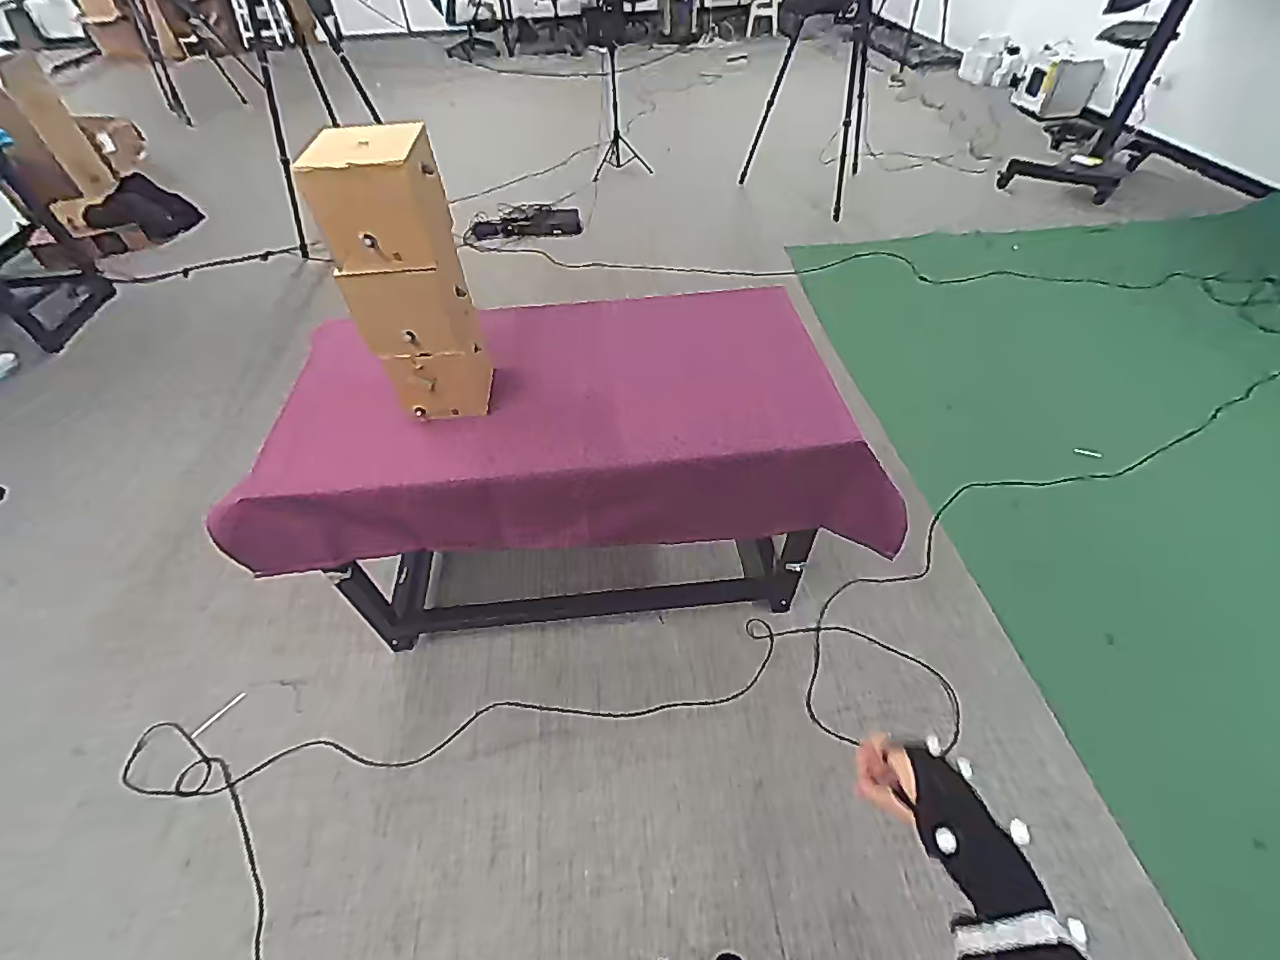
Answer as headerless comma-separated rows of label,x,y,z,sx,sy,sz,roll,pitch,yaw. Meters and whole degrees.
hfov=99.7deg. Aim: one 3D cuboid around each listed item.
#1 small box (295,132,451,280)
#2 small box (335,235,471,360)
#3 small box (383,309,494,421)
small box,-0.429,-0.457,0.905,0.168,0.176,0.179,-6,49,-2
small box,-0.432,-0.345,1.023,0.179,0.176,0.168,-4,48,-2
small box,-0.415,-0.238,1.148,0.168,0.176,0.179,-5,48,-2
